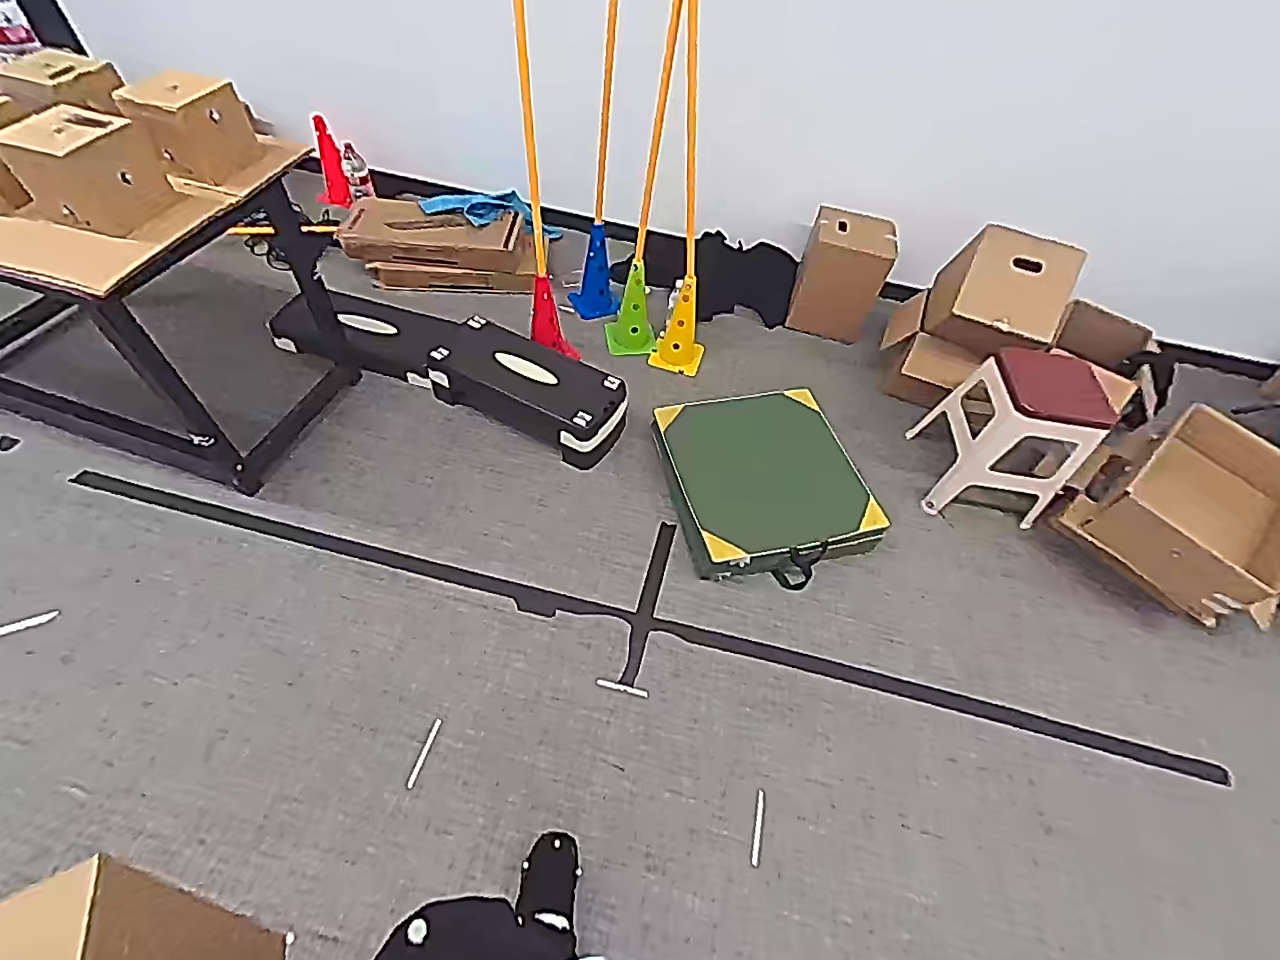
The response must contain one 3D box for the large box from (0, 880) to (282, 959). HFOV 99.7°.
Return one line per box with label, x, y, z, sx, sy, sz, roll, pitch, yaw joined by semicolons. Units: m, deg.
large box;-0.607;0.699;0.538;0.320;0.408;0.320;-21;43;-21
